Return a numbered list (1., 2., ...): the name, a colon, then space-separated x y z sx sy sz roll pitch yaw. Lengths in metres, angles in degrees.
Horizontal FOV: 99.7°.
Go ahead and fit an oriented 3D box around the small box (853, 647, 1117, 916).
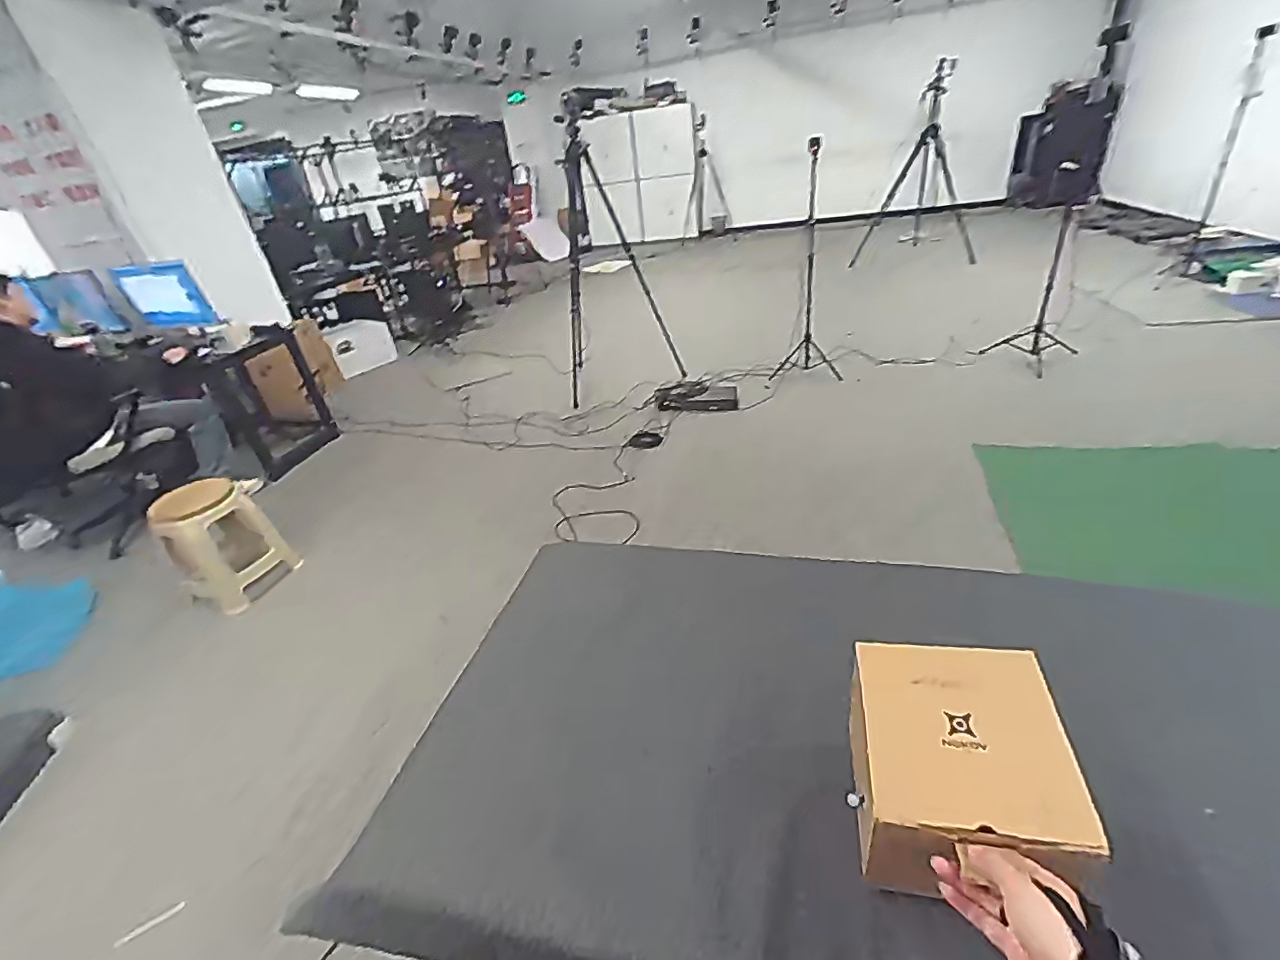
1. small box: 0.306 0.290 0.528 0.168 0.176 0.179 -1 39 15
